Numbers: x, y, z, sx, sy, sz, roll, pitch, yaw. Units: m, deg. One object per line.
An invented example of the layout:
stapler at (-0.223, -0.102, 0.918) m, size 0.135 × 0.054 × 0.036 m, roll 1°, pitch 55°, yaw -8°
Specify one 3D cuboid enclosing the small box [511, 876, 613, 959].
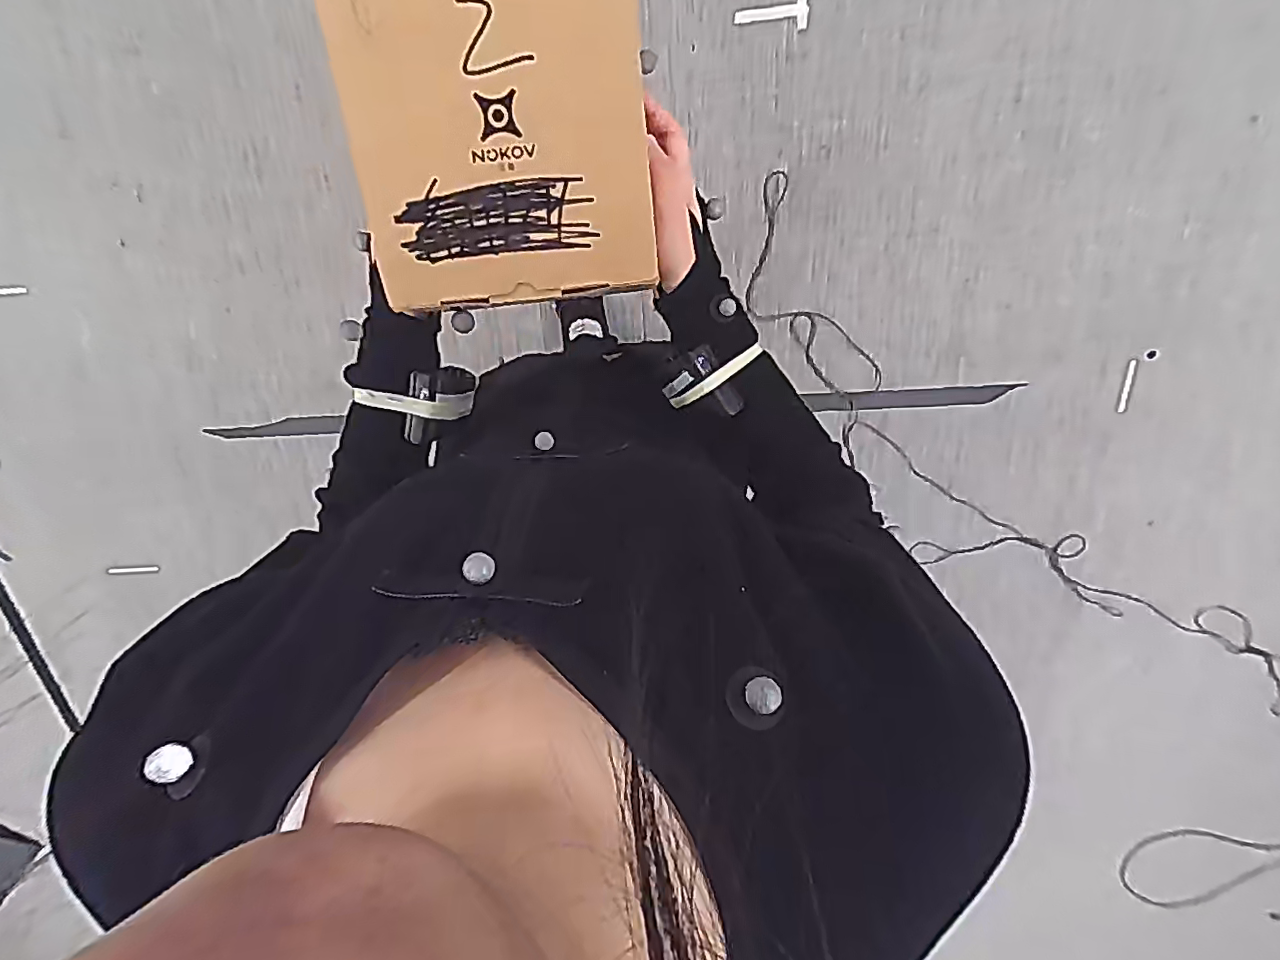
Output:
small box at (-0.133, 0.856, 0.973) m, size 0.168 × 0.176 × 0.179 m, roll -1°, pitch 110°, yaw -1°
